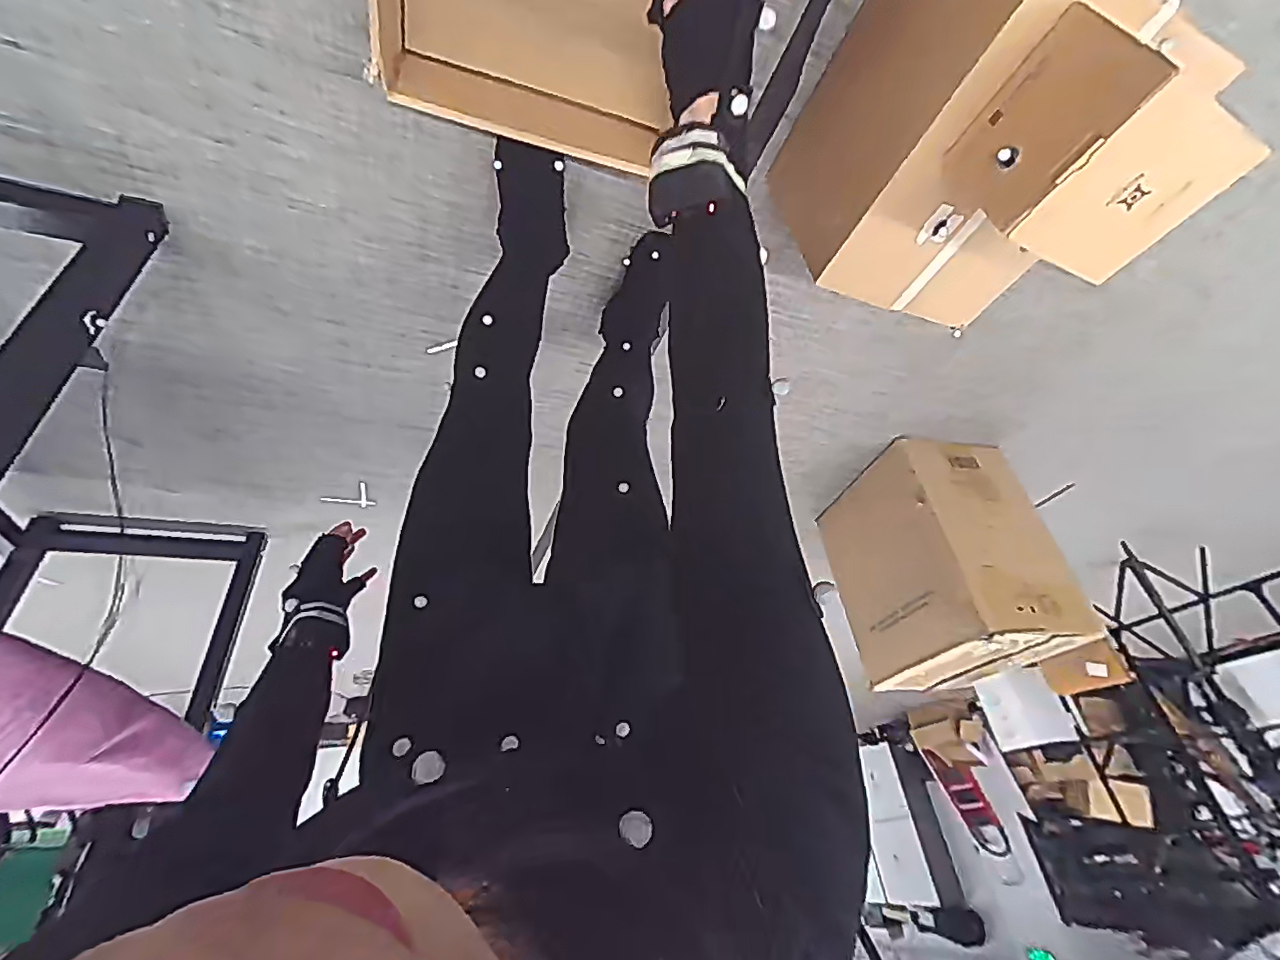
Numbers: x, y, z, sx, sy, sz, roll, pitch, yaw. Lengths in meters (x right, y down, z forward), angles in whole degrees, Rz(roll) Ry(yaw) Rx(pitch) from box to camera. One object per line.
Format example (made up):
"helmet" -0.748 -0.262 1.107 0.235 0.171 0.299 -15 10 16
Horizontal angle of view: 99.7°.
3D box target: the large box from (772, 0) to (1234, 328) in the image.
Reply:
"large box" 0.455 -0.504 0.790 0.320 0.320 0.408 8 144 -20

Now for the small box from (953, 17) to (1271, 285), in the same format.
"small box" 0.486 -0.352 0.585 0.179 0.176 0.168 10 144 -23
